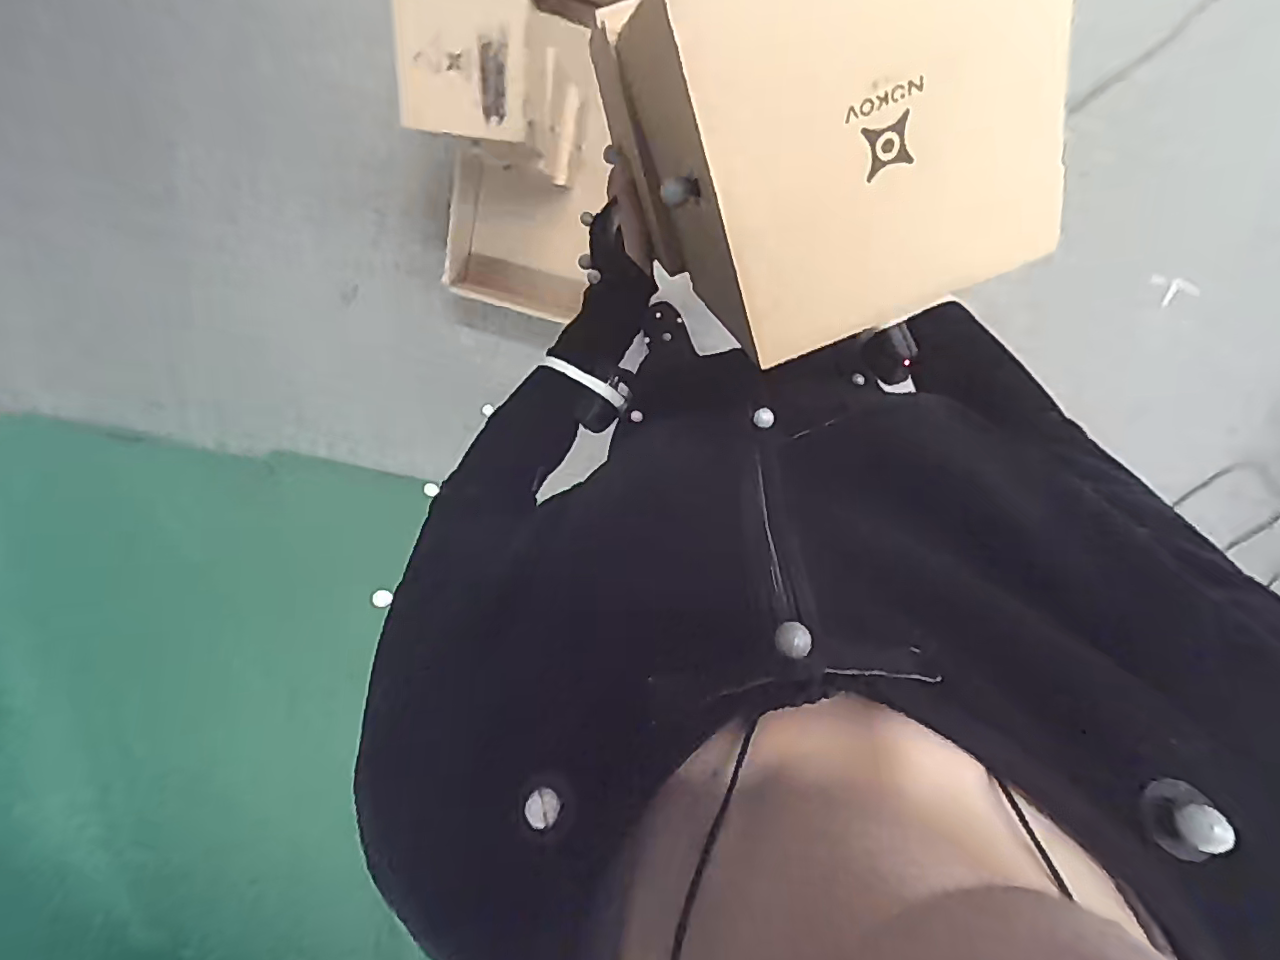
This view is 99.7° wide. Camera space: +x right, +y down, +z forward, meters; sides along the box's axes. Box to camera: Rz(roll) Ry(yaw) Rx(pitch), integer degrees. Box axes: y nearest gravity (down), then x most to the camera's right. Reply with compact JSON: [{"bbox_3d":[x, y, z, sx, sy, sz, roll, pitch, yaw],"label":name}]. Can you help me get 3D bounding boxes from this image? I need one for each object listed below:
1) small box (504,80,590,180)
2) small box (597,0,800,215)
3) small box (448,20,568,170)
[{"bbox_3d":[-0.208,-0.719,1.097,0.179,0.176,0.168,13,118,-7],"label":"small box"},{"bbox_3d":[0.056,-0.400,0.564,0.168,0.176,0.179,-15,123,2],"label":"small box"},{"bbox_3d":[-0.225,-0.656,0.945,0.168,0.176,0.179,10,118,-4],"label":"small box"}]
